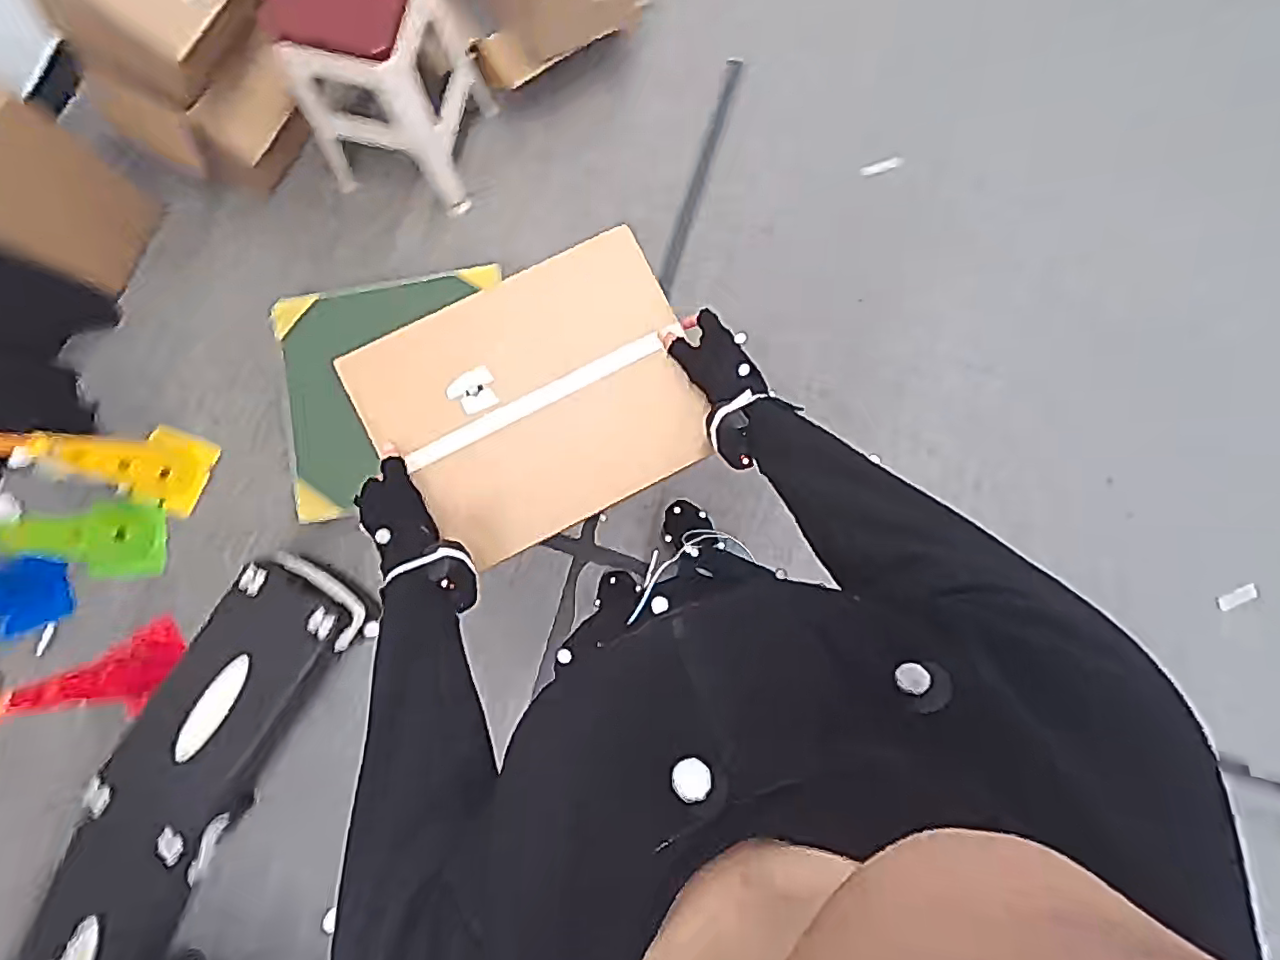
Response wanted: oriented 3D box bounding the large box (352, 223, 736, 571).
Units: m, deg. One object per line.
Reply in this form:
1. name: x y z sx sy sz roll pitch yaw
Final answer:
1. large box: -0.124 -0.106 0.830 0.408 0.320 0.320 -26 89 -3
